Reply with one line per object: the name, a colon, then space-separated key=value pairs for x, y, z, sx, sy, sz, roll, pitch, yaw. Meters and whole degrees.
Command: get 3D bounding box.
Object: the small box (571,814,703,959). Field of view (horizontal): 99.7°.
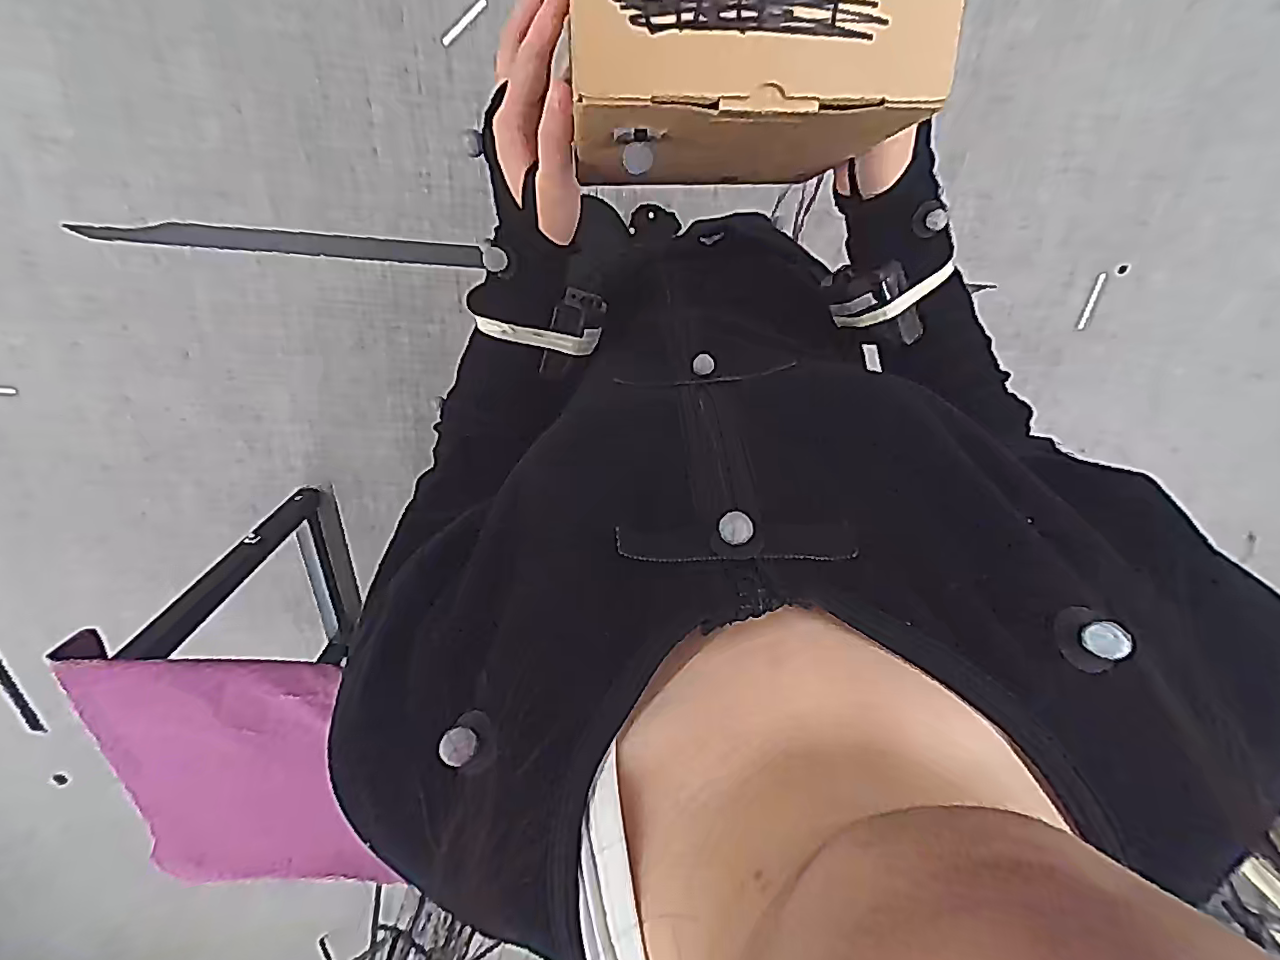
small box: x=-0.006 y=0.635 z=0.818 sx=0.179 sy=0.176 sz=0.168 roll=-2 pitch=119 yaw=-2
